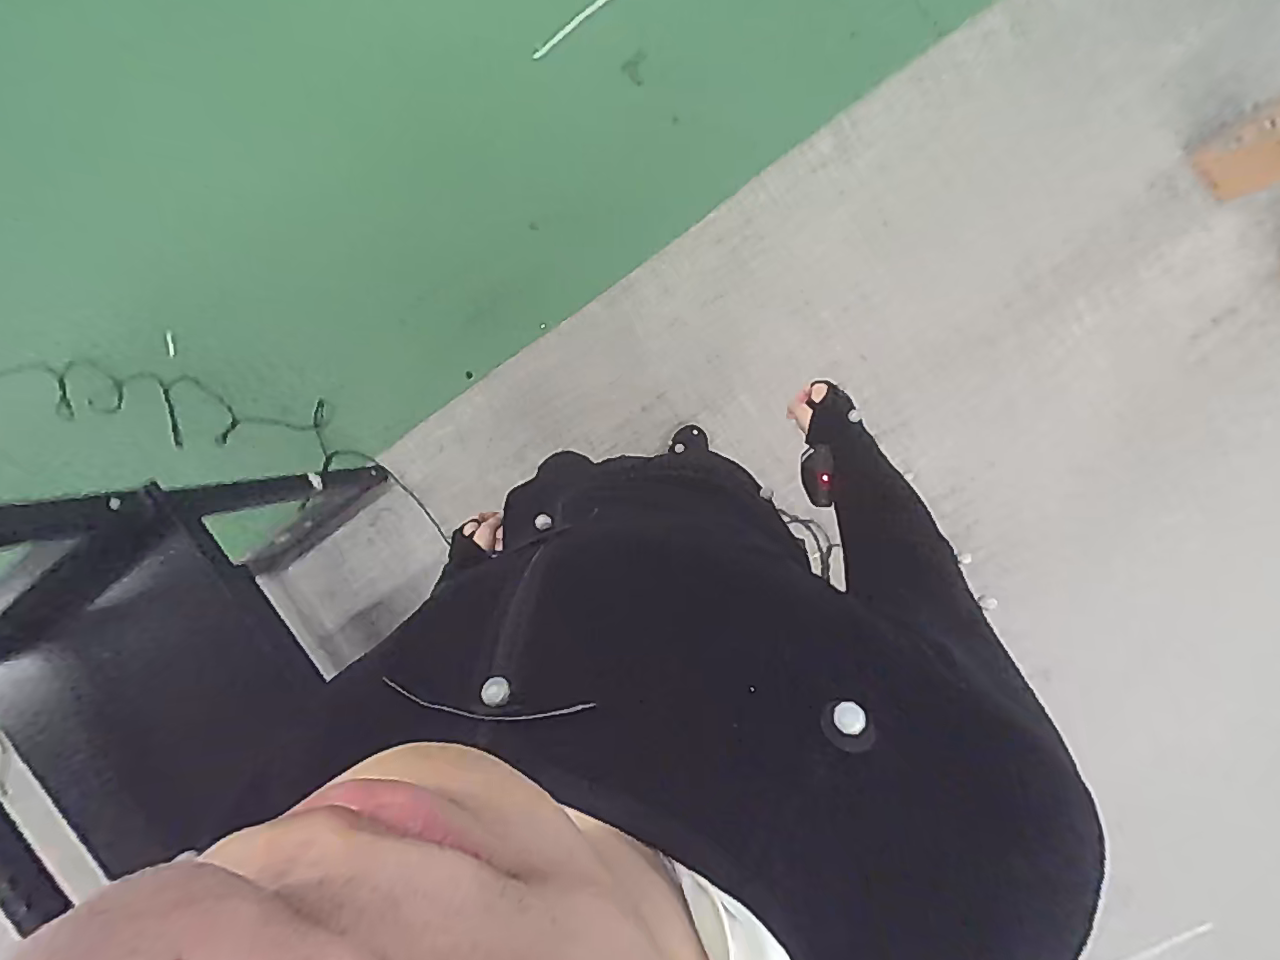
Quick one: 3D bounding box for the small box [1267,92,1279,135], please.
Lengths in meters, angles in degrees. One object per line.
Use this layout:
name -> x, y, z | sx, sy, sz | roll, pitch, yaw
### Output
small box -> 1.498, -0.814, 1.130 | 0.179, 0.176, 0.168 | -36, 91, 7
